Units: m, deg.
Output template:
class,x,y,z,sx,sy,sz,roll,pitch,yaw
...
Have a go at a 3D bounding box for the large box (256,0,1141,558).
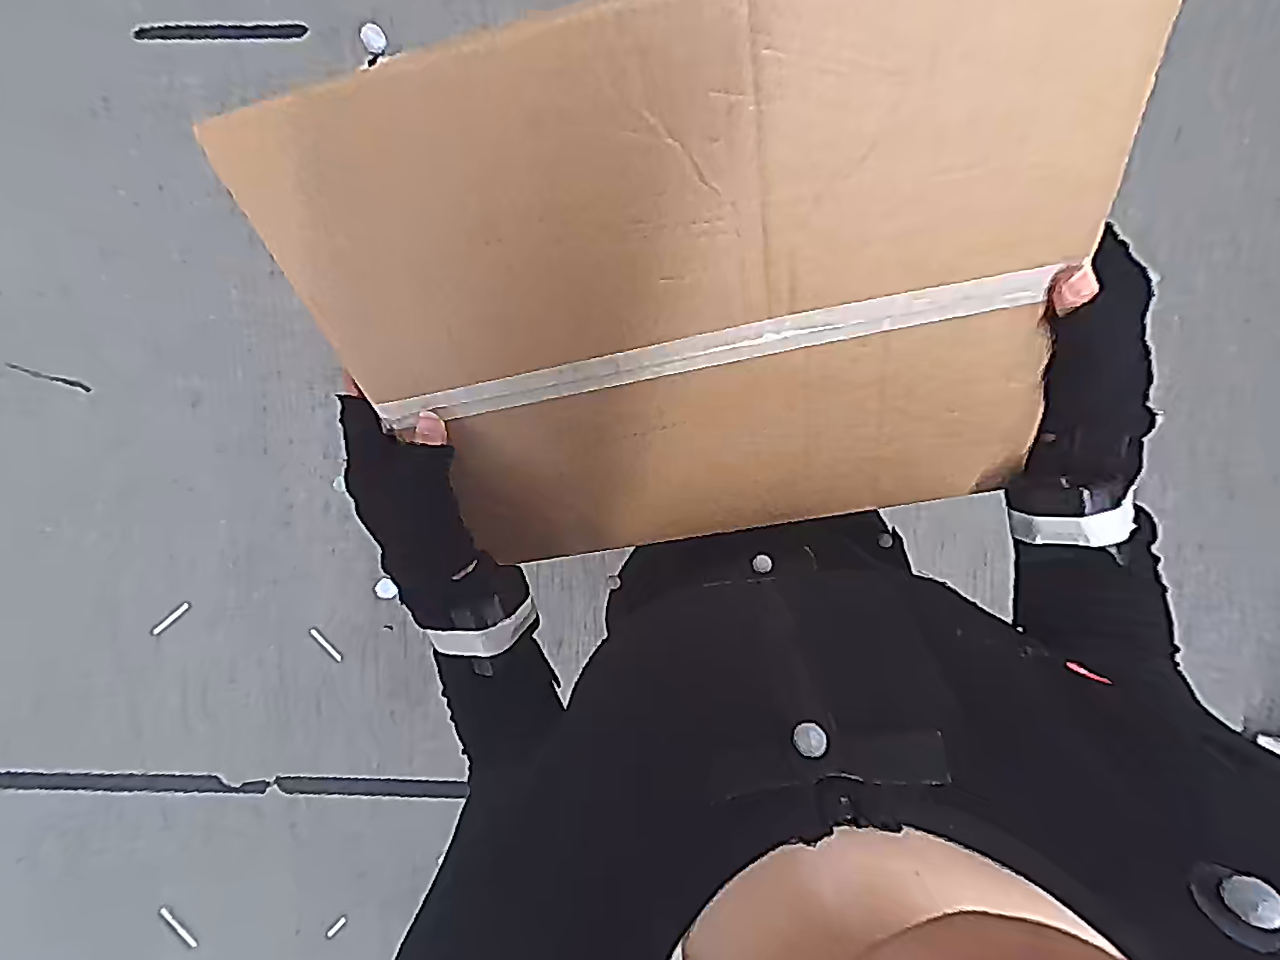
class,x,y,z,sx,sy,sz,roll,pitch,yaw
large box,0.035,-0.178,0.437,0.408,0.320,0.320,-10,133,7
